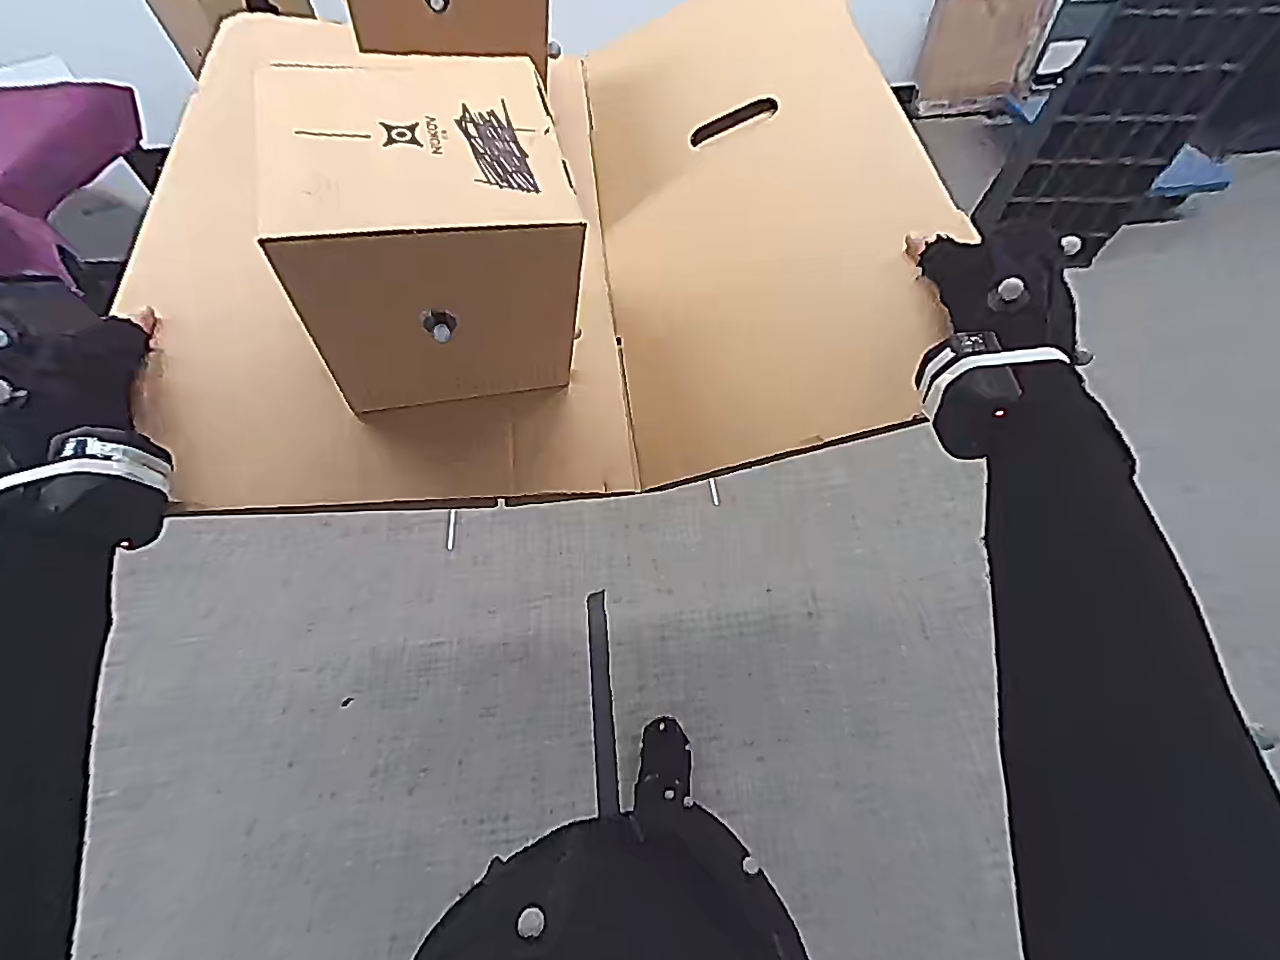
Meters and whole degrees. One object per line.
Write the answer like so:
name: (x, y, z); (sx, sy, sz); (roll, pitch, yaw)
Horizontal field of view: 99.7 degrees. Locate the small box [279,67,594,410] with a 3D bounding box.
small box: (-0.145, -0.172, 0.414); (0.179, 0.176, 0.168); (-11, 67, -15)
